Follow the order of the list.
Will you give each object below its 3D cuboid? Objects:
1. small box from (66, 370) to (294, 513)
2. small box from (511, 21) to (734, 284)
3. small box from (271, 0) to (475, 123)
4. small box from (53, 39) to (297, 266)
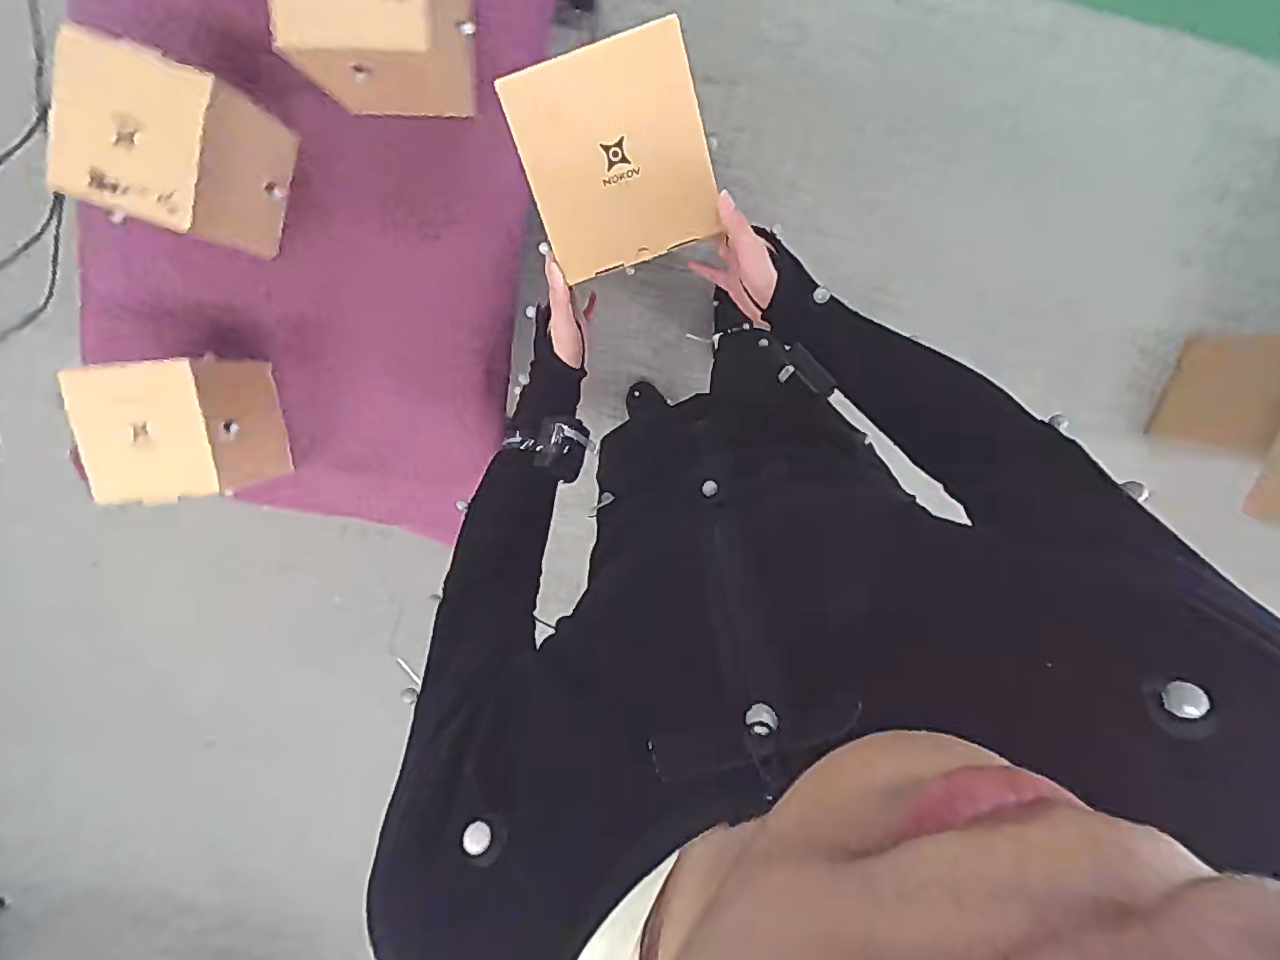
[{"bbox_3d":[-0.632,-0.063,0.772,0.168,0.176,0.179,-5,101,-1],"label":"small box"},{"bbox_3d":[-0.017,-0.317,0.562,0.168,0.176,0.179,-17,113,3],"label":"small box"},{"bbox_3d":[-0.319,-0.568,0.669,0.179,0.176,0.168,1,102,0],"label":"small box"},{"bbox_3d":[-0.583,-0.403,0.702,0.168,0.176,0.179,18,101,-5],"label":"small box"}]
